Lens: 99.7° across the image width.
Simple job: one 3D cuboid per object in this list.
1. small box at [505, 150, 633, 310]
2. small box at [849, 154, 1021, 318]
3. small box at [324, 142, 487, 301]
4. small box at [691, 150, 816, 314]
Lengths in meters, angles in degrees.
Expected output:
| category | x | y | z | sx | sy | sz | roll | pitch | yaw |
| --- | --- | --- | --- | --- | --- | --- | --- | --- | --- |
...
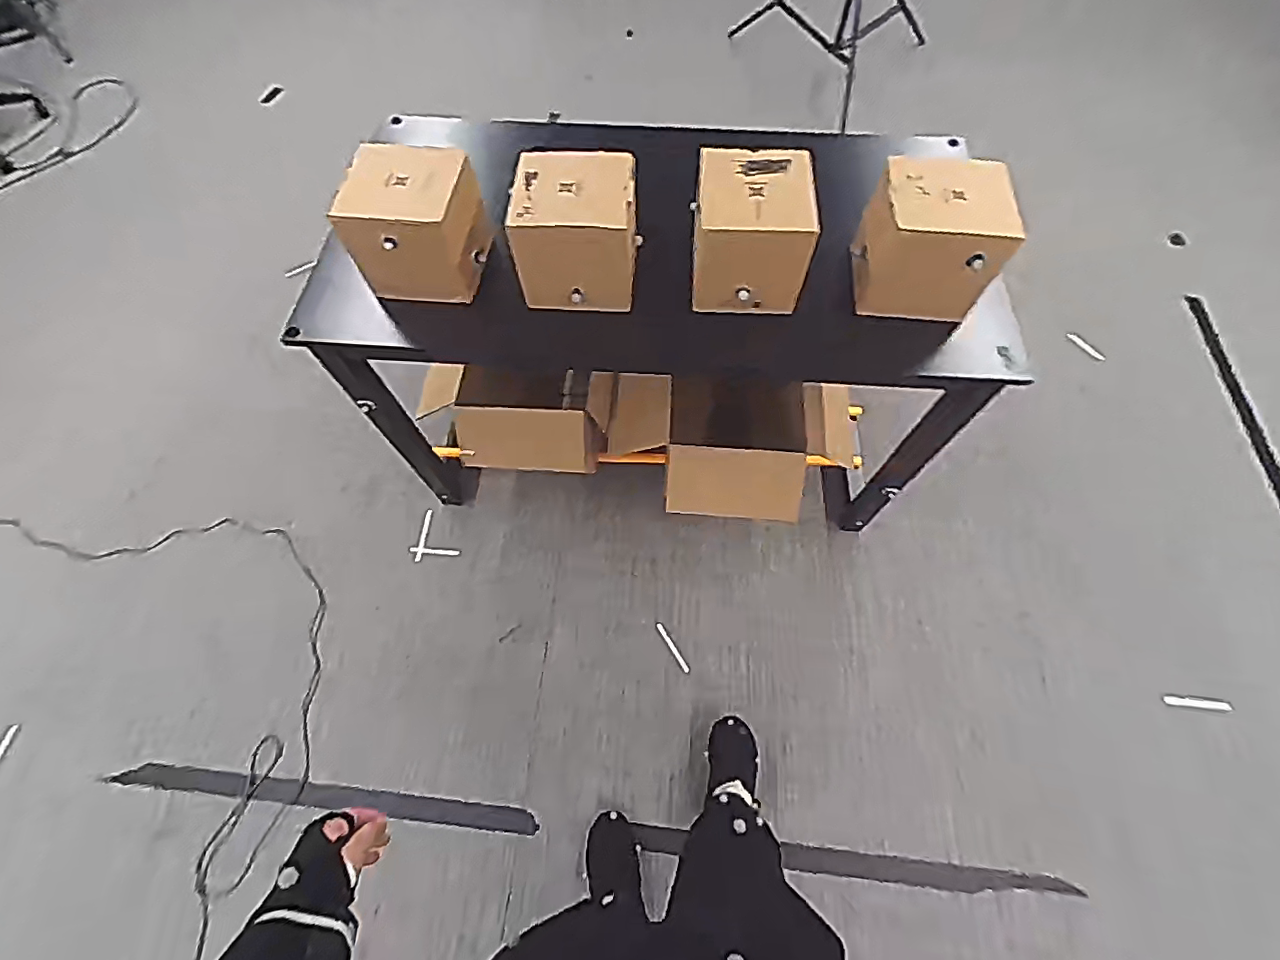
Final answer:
| category | x | y | z | sx | sy | sz | roll | pitch | yaw |
| --- | --- | --- | --- | --- | --- | --- | --- | --- | --- |
| small box | -0.102 | -0.393 | 0.869 | 0.179 | 0.176 | 0.168 | 3 | 64 | 1 |
| small box | 0.449 | -0.377 | 0.854 | 0.179 | 0.176 | 0.168 | 5 | 63 | 4 |
| small box | -0.367 | -0.414 | 0.883 | 0.179 | 0.176 | 0.168 | 4 | 66 | -1 |
| small box | 0.170 | -0.393 | 0.866 | 0.168 | 0.176 | 0.179 | 2 | 65 | 2 |
